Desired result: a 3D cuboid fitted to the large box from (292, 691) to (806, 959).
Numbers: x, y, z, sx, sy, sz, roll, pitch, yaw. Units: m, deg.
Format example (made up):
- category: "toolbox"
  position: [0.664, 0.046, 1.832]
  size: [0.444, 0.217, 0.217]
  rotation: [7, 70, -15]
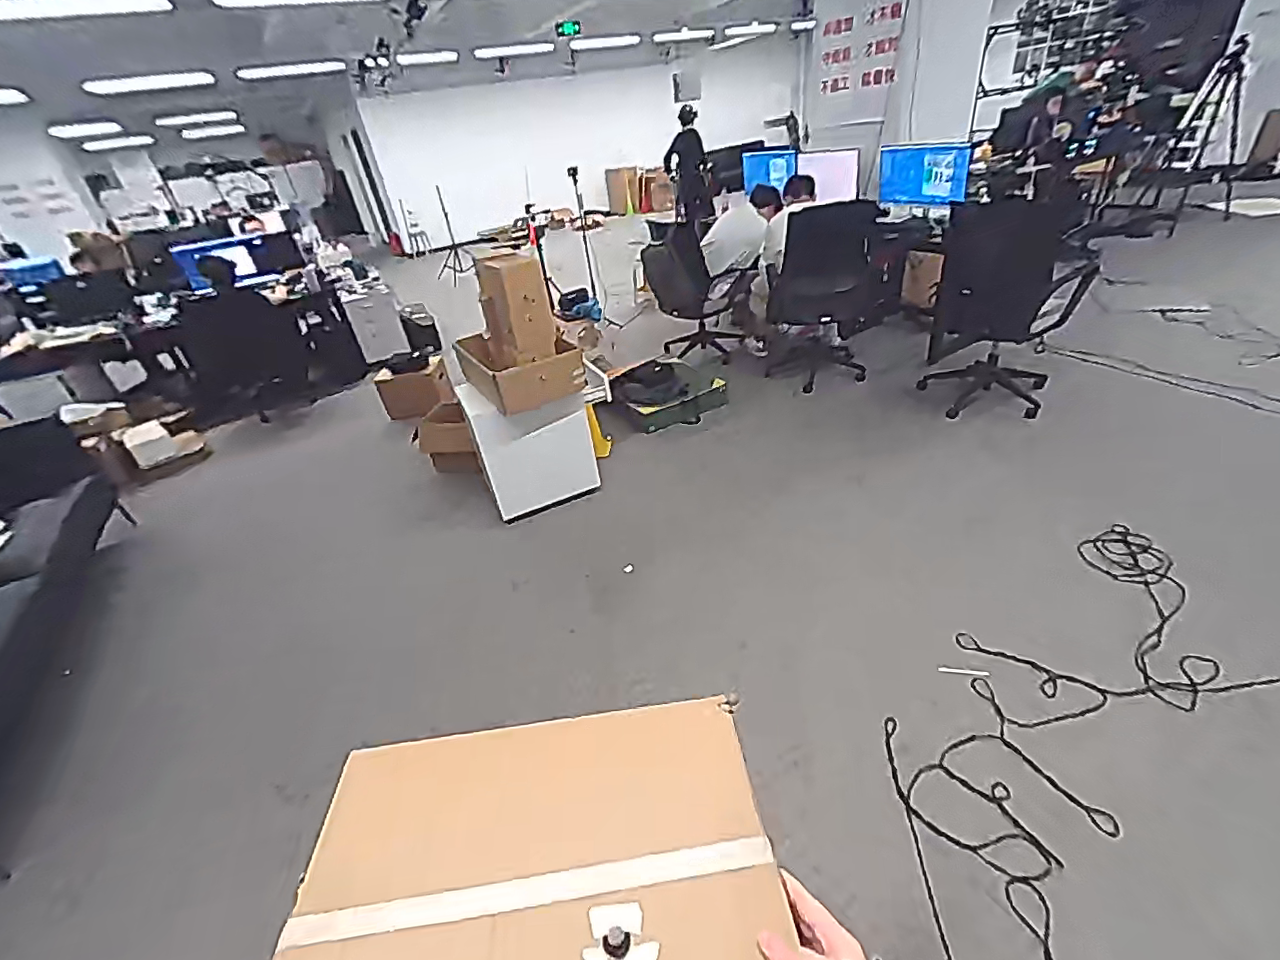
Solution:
- category: "large box"
  position: [-0.075, 0.466, 0.546]
  size: [0.408, 0.320, 0.320]
  rotation: [-6, 33, -5]
